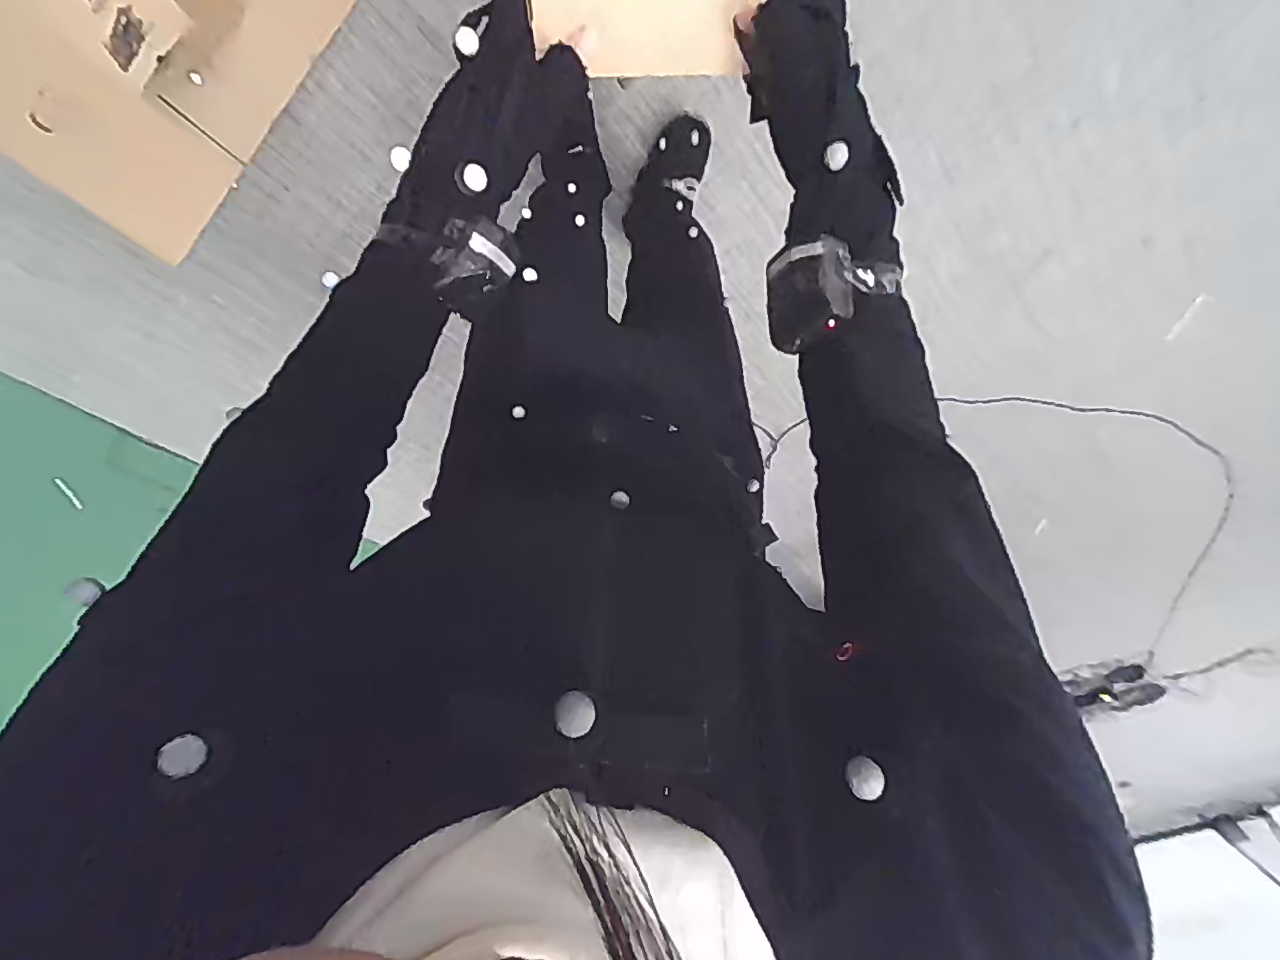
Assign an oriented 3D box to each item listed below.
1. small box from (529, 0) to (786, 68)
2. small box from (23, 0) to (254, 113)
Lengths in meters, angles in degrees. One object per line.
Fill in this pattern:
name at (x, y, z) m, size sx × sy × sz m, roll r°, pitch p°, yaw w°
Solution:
small box at (0.003, -0.410, 0.395) m, size 0.179 × 0.176 × 0.168 m, roll -7°, pitch 129°, yaw -2°
small box at (-0.724, -0.693, 0.796) m, size 0.168 × 0.176 × 0.179 m, roll -29°, pitch 129°, yaw 20°
